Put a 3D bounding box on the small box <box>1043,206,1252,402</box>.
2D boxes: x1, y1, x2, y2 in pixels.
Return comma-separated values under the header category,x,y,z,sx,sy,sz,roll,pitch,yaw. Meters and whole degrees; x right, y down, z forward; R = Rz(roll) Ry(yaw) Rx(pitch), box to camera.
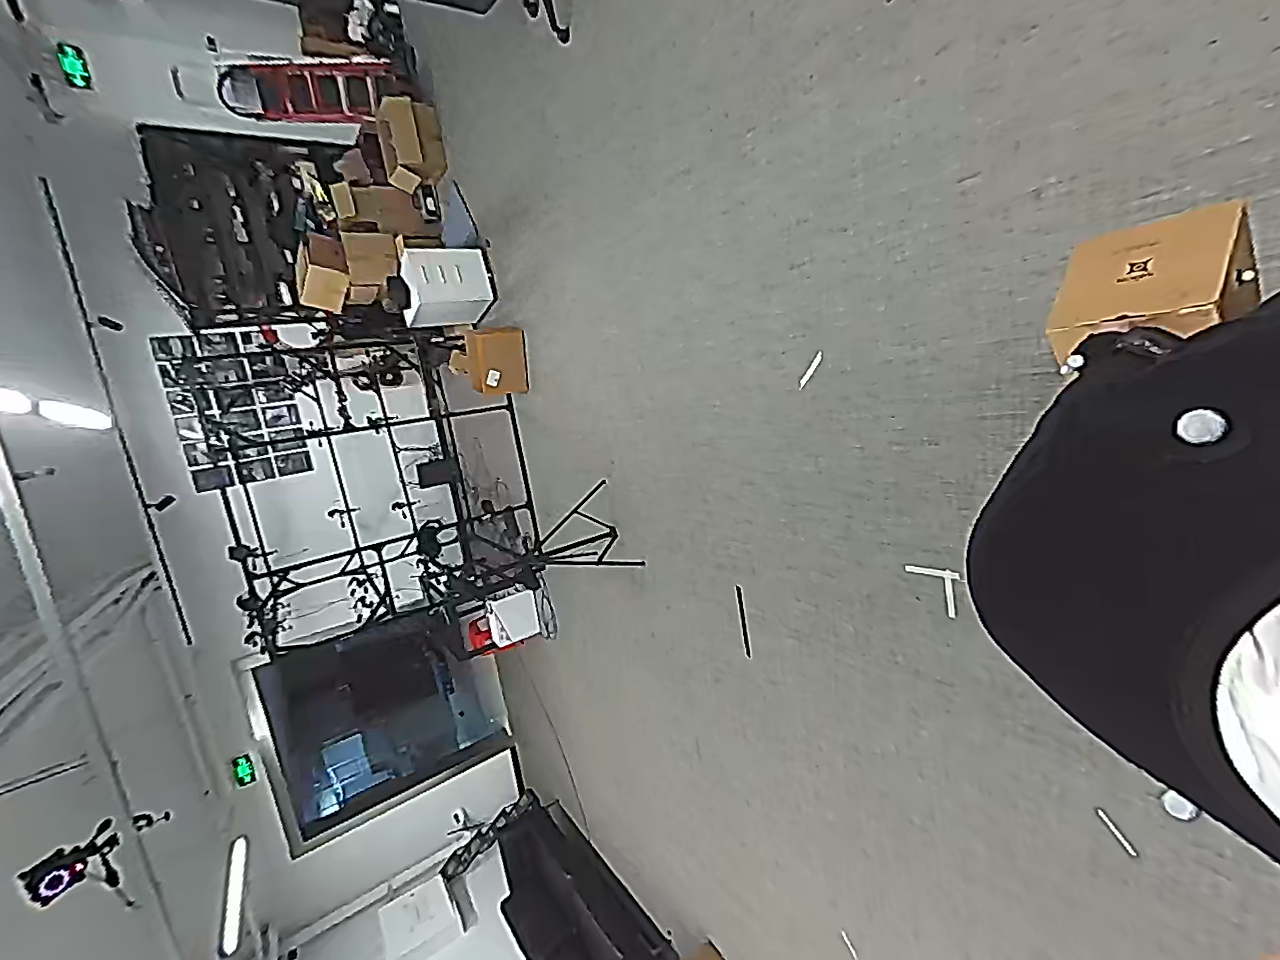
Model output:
category,x,y,z,sx,sy,sz,roll,pitch,yaw
small box,0.687,-0.218,0.730,0.176,0.179,0.168,42,160,-29
